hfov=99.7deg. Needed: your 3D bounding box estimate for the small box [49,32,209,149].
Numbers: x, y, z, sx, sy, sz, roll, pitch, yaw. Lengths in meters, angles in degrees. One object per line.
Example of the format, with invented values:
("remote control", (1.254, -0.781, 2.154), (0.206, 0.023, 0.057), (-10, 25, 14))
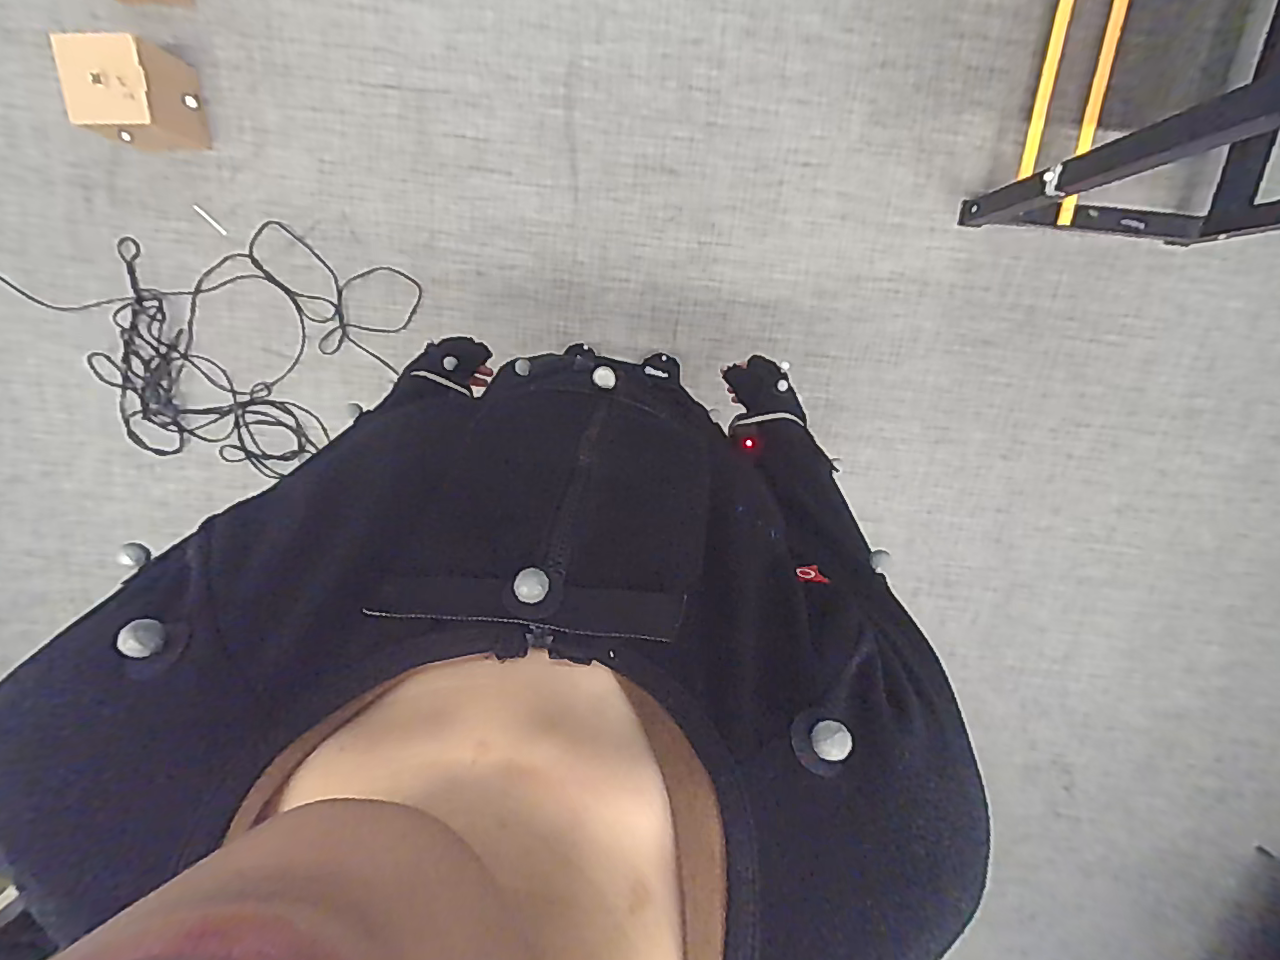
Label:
("small box", (-1.112, -0.848, 1.191), (0.179, 0.176, 0.168), (0, 106, 0))
